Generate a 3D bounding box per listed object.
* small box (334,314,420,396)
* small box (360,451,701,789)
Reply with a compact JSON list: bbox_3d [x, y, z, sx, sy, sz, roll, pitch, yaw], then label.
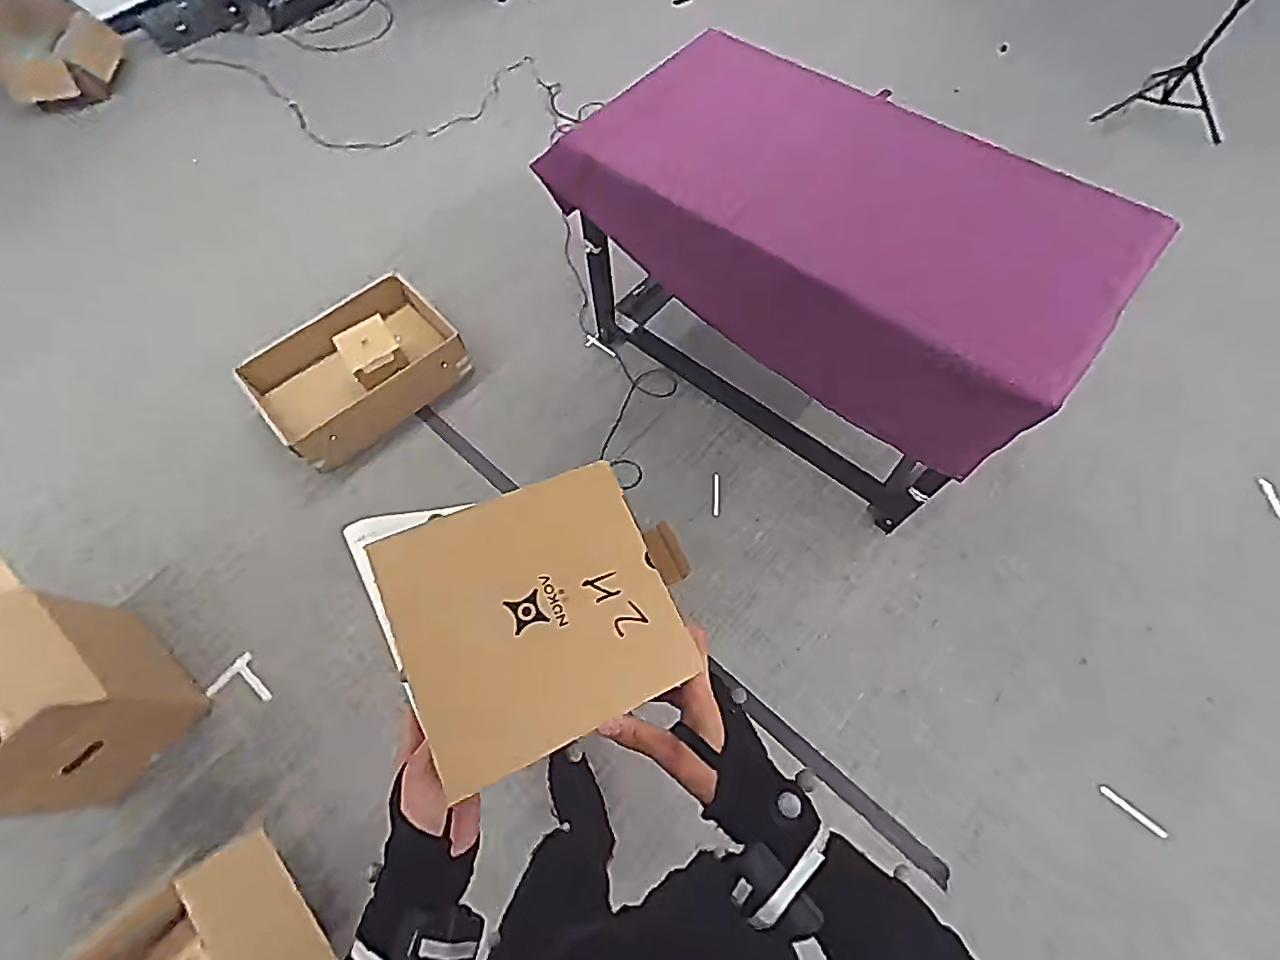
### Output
[{"bbox_3d":[-0.857,-0.401,1.776,0.168,0.176,0.179,-33,68,-13],"label":"small box"},{"bbox_3d":[-0.084,0.105,0.417,0.179,0.176,0.168,-19,74,-20],"label":"small box"}]
